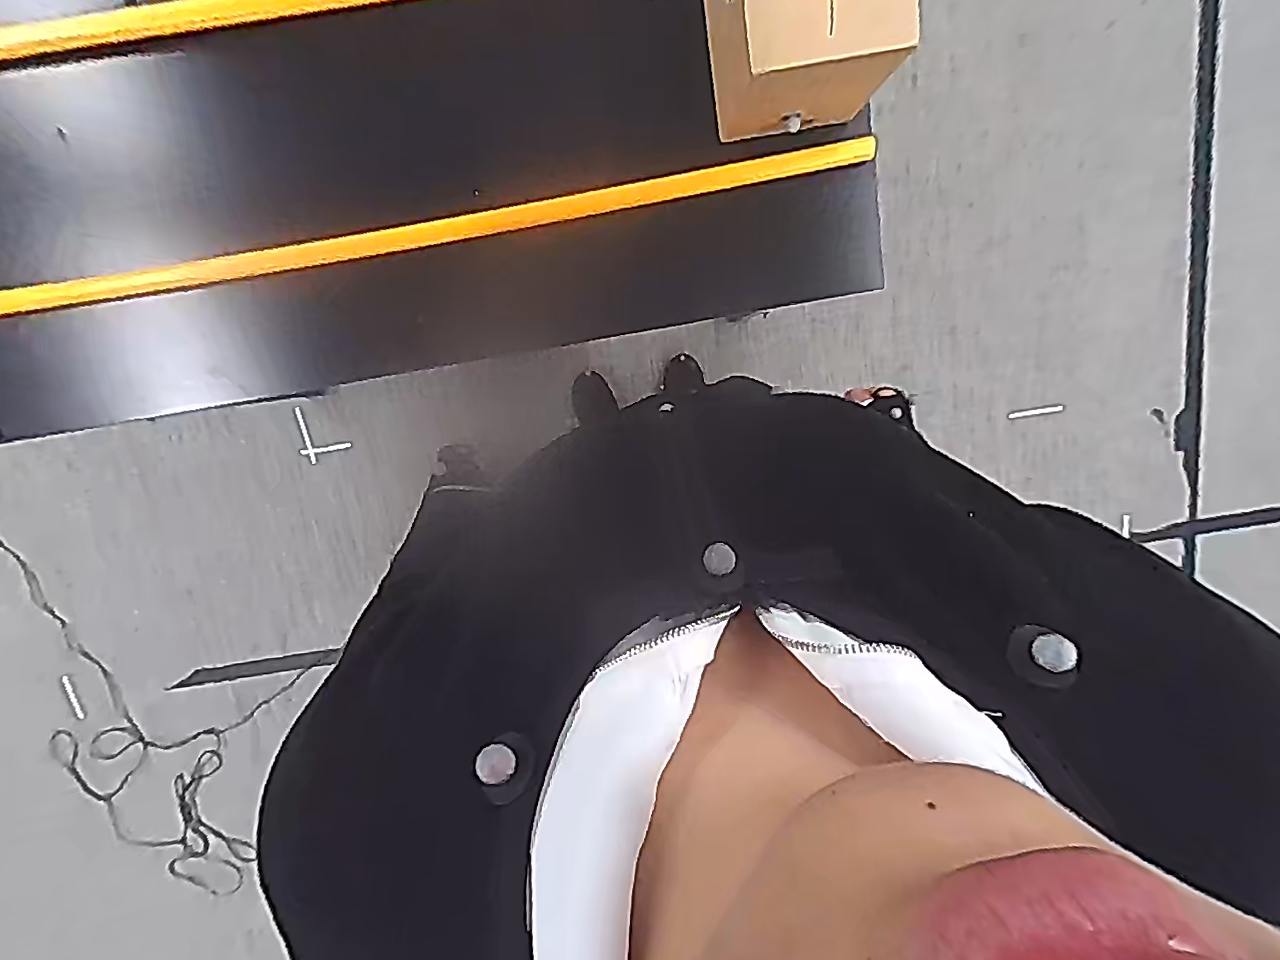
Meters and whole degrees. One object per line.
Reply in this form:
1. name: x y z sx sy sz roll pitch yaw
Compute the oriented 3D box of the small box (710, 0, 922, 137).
1. small box: 0.174 -0.505 0.576 0.168 0.176 0.179 -9 103 1
